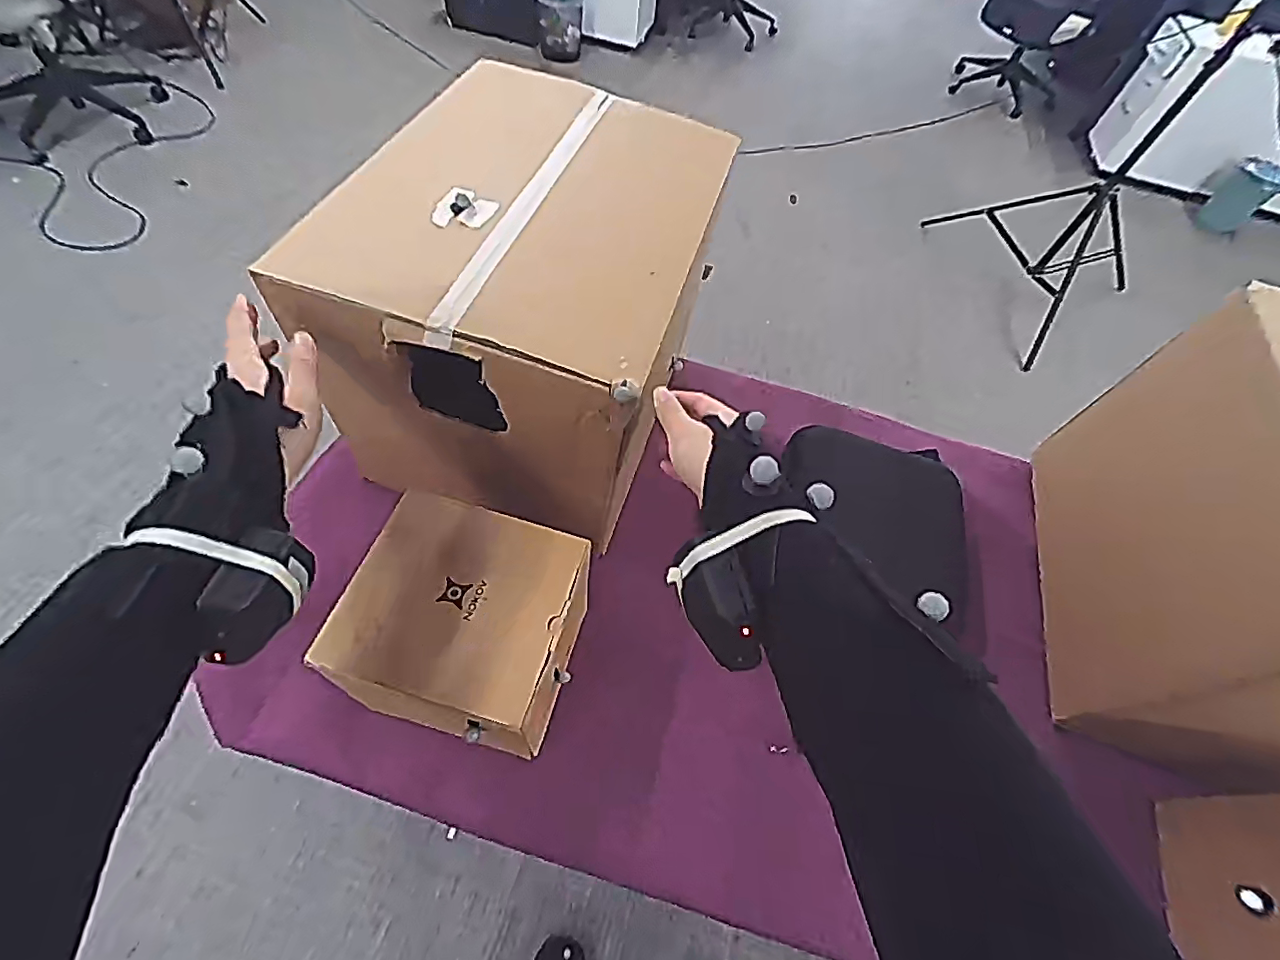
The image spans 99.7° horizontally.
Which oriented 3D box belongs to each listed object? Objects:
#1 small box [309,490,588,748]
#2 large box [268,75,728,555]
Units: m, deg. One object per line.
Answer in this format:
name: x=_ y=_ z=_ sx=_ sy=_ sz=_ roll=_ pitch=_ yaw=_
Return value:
small box: x=-0.159 y=0.139 z=0.514 sx=0.179 sy=0.176 sz=0.168 roll=16 pitch=56 yaw=2
large box: x=-0.114 y=-0.183 z=0.641 sx=0.320 sy=0.320 sz=0.408 roll=17 pitch=59 yaw=2
